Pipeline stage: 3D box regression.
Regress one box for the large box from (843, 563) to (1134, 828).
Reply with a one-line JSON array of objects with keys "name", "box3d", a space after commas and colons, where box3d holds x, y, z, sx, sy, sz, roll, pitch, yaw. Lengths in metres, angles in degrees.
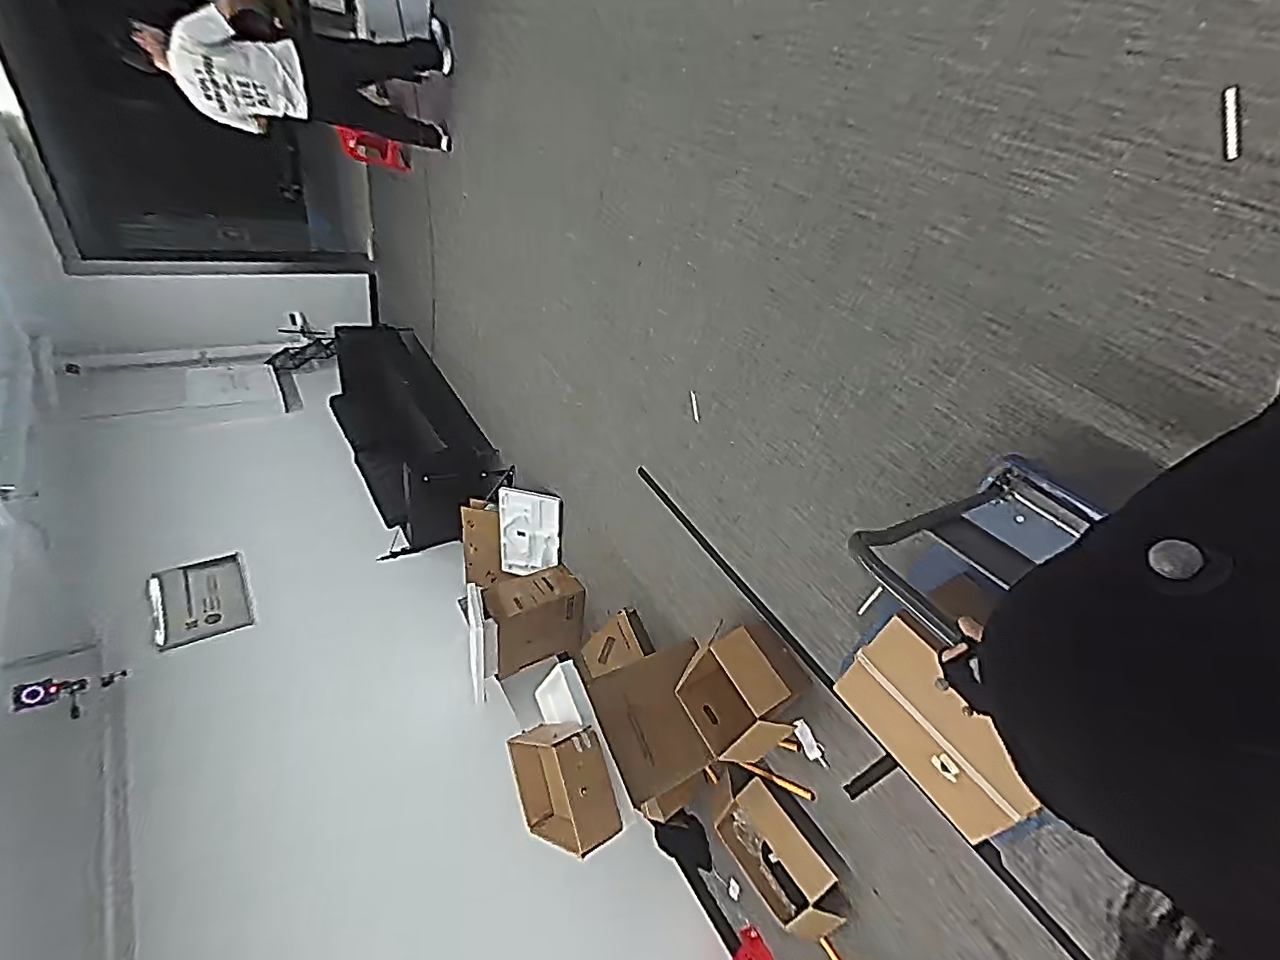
[{"name": "large box", "box3d": [0.768, 0.464, 1.235, 0.408, 0.320, 0.320, 47, 138, 34]}]
